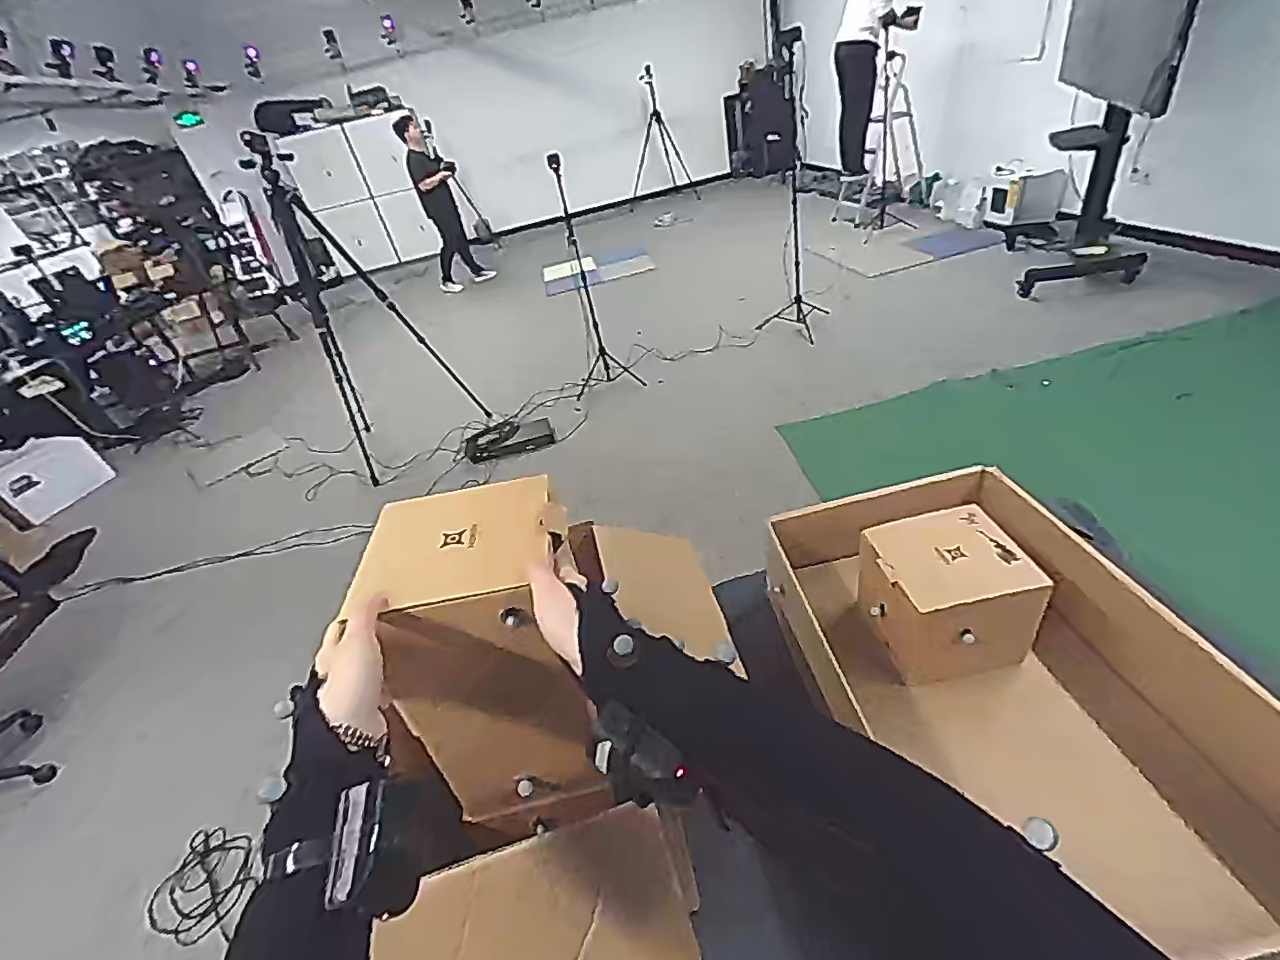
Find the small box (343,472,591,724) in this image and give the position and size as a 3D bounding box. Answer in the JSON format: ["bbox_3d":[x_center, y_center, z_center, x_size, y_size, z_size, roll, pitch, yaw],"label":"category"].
[{"bbox_3d":[-0.155,0.118,0.547,0.179,0.176,0.168,-11,34,-3],"label":"small box"}]

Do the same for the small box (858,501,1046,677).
[{"bbox_3d":[0.438,0.162,0.791,0.179,0.176,0.168,-14,37,2],"label":"small box"}]
